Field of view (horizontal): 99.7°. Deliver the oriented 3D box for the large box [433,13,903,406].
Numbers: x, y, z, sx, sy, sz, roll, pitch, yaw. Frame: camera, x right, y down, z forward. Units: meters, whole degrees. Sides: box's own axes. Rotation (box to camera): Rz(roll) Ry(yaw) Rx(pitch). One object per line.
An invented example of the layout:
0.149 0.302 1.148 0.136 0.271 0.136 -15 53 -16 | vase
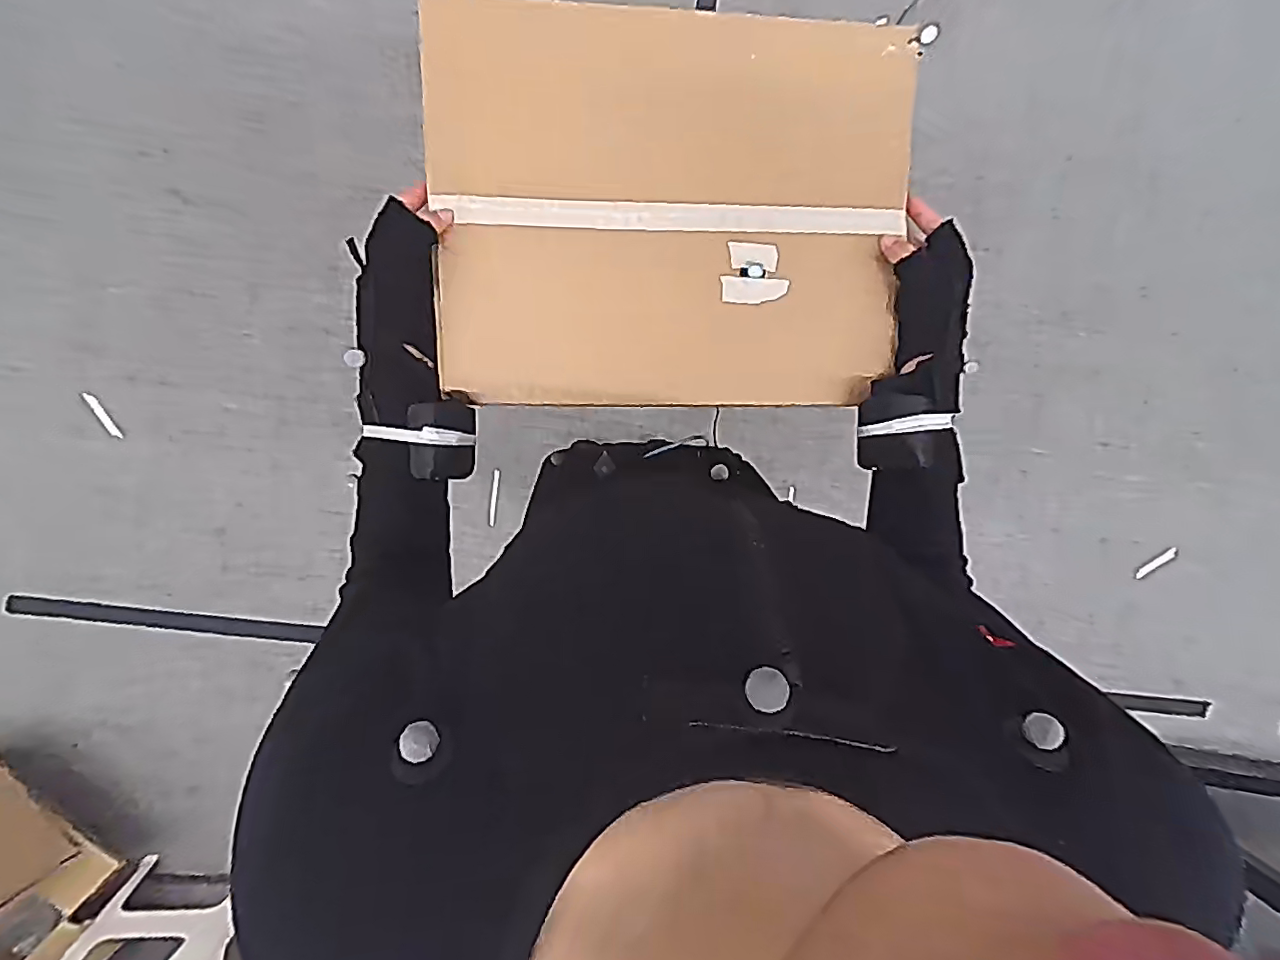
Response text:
0.015 -0.248 0.618 0.408 0.320 0.320 -1 100 -6 | large box
